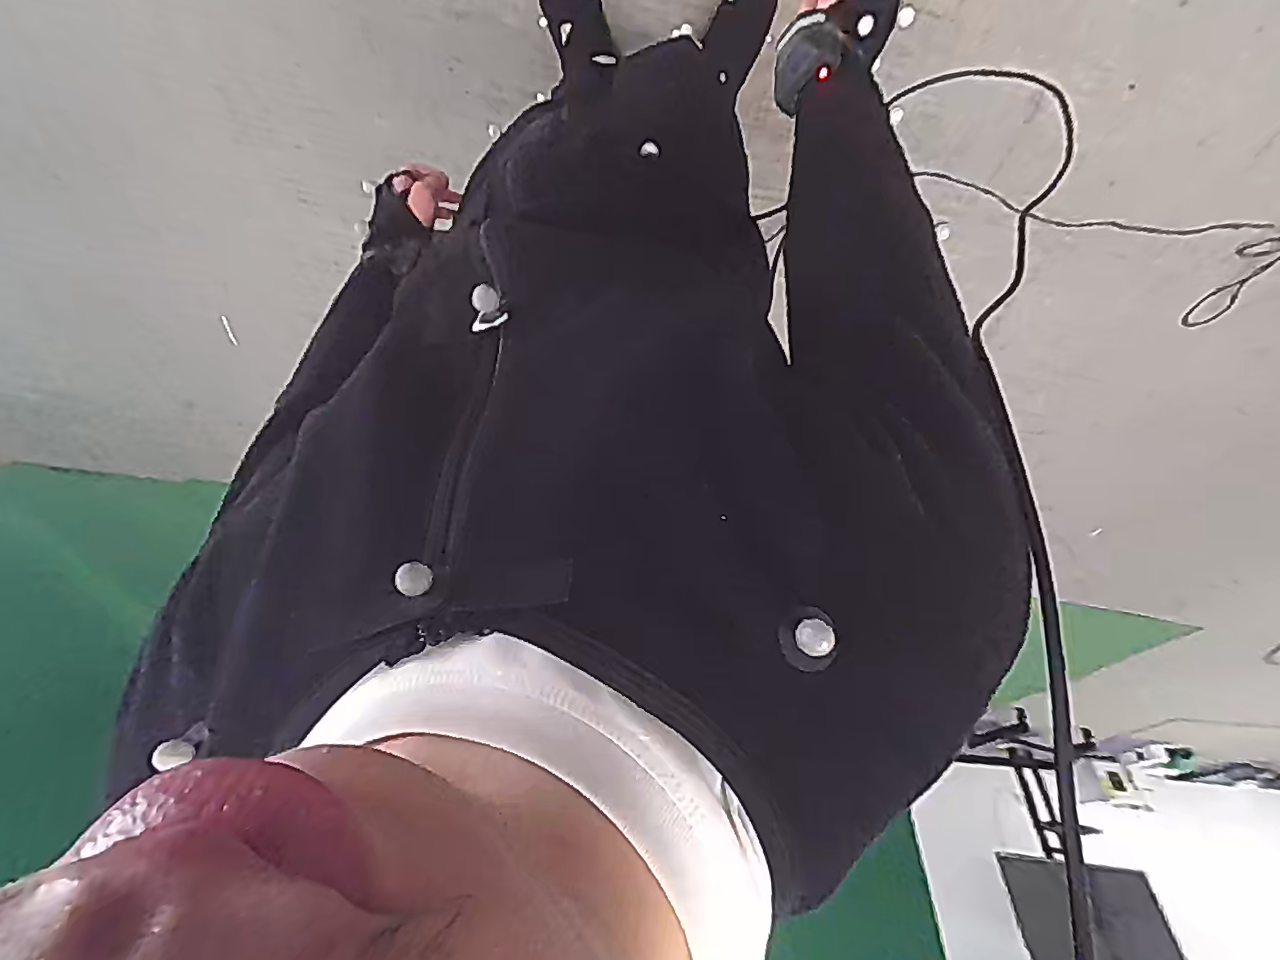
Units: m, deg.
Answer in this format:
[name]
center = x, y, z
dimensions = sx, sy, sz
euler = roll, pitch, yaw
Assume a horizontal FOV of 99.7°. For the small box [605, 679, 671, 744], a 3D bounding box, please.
[small box]
center = -0.008, 0.828, 1.936
dimensions = 0.179, 0.176, 0.168
euler = -32, 130, 33
